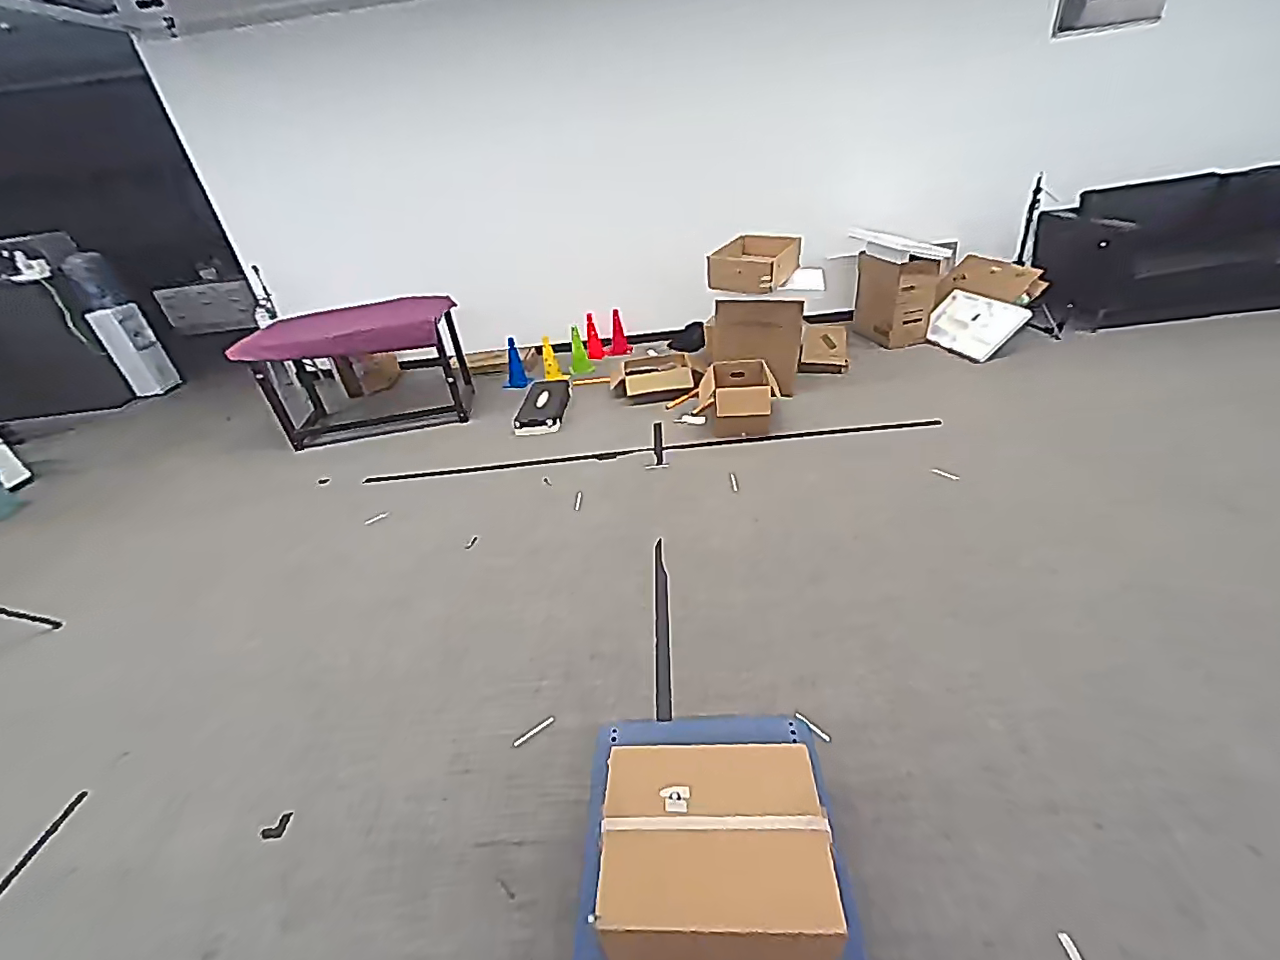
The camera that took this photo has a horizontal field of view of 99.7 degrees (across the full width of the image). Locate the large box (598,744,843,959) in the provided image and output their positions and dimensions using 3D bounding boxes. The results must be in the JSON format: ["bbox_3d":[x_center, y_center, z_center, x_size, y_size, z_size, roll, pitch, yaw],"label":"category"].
[{"bbox_3d":[0.152,0.765,1.074,0.408,0.320,0.320,-5,31,6],"label":"large box"}]
